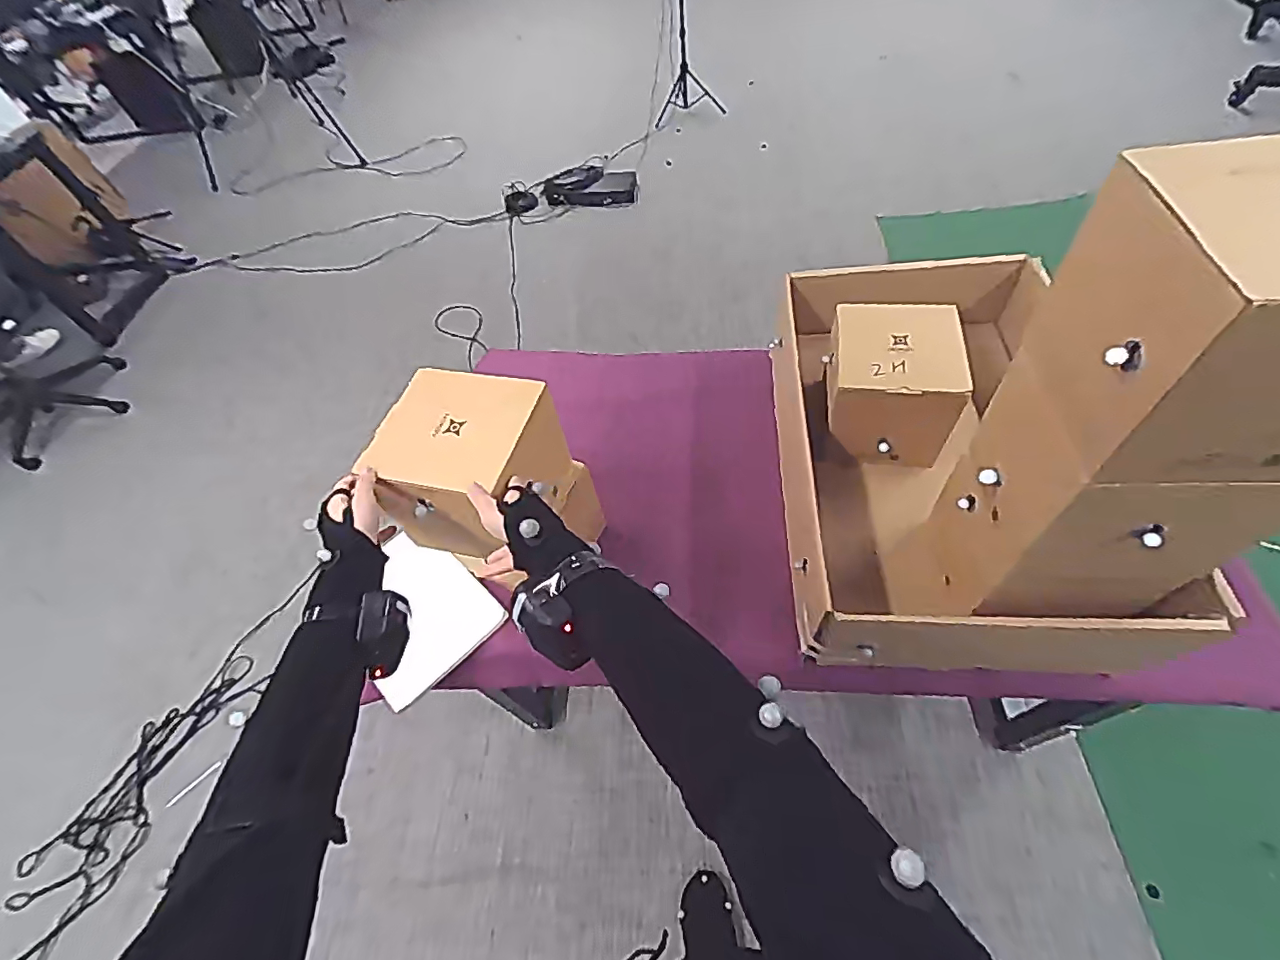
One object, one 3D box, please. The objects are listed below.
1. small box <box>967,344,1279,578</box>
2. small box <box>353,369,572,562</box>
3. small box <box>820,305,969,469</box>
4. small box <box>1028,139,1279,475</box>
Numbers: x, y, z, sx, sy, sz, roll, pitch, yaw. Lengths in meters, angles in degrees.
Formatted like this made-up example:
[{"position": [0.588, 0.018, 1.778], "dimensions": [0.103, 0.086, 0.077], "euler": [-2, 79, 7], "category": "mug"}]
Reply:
[{"position": [0.449, -0.016, 0.516], "dimensions": [0.179, 0.176, 0.168], "euler": [-1, 54, 11], "category": "small box"}, {"position": [-0.201, -0.013, 0.674], "dimensions": [0.179, 0.176, 0.168], "euler": [8, 56, 14], "category": "small box"}, {"position": [0.370, -0.140, 0.819], "dimensions": [0.168, 0.176, 0.179], "euler": [6, 57, 13], "category": "small box"}, {"position": [0.423, -0.116, 0.389], "dimensions": [0.168, 0.176, 0.179], "euler": [0, 54, 10], "category": "small box"}]
